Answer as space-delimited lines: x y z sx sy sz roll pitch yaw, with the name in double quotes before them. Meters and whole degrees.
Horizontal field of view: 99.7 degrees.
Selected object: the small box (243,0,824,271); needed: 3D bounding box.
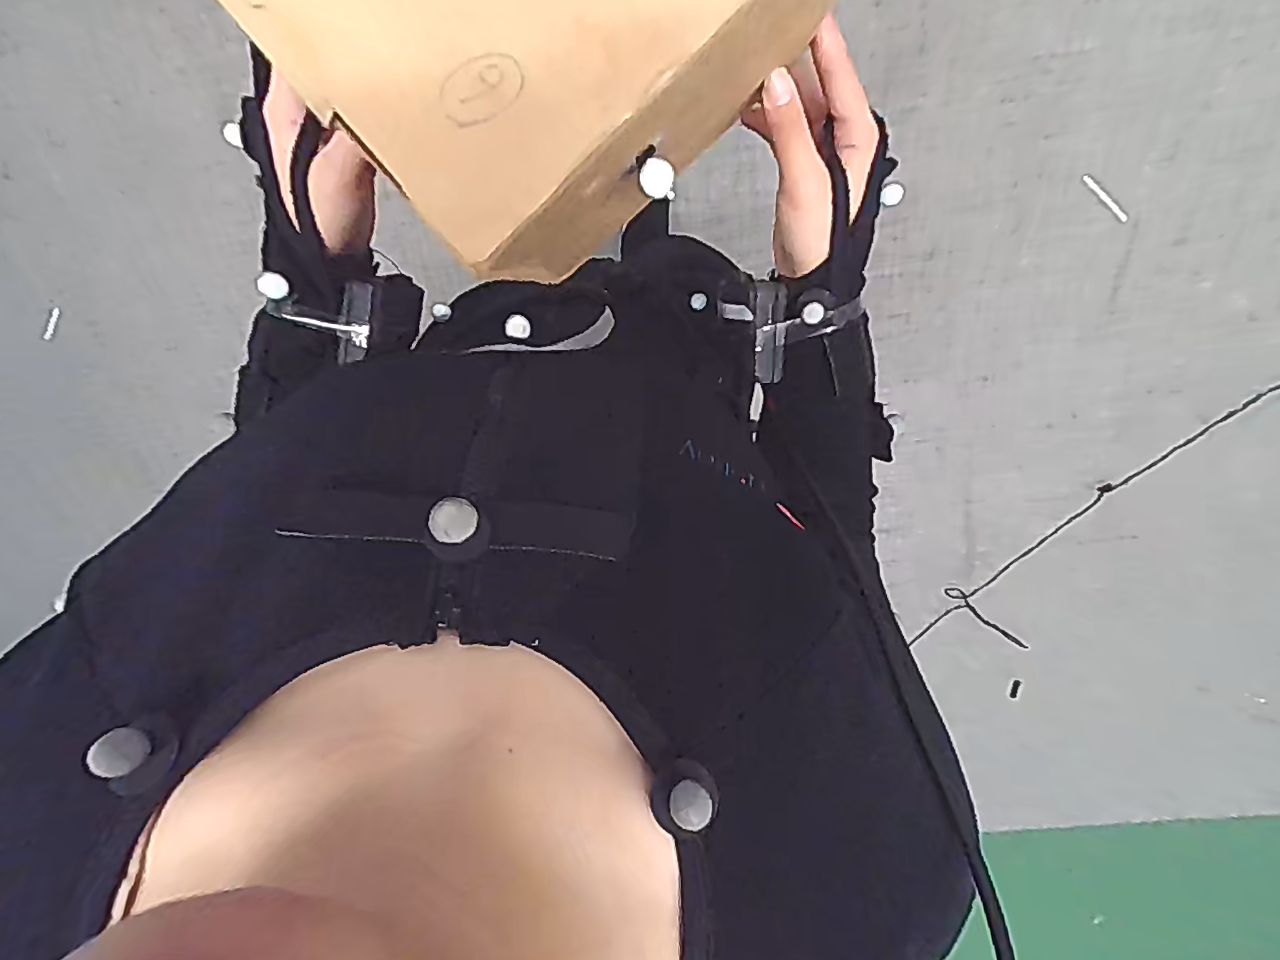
"small box" -0.034 -0.203 0.213 0.179 0.176 0.168 -37 104 13
